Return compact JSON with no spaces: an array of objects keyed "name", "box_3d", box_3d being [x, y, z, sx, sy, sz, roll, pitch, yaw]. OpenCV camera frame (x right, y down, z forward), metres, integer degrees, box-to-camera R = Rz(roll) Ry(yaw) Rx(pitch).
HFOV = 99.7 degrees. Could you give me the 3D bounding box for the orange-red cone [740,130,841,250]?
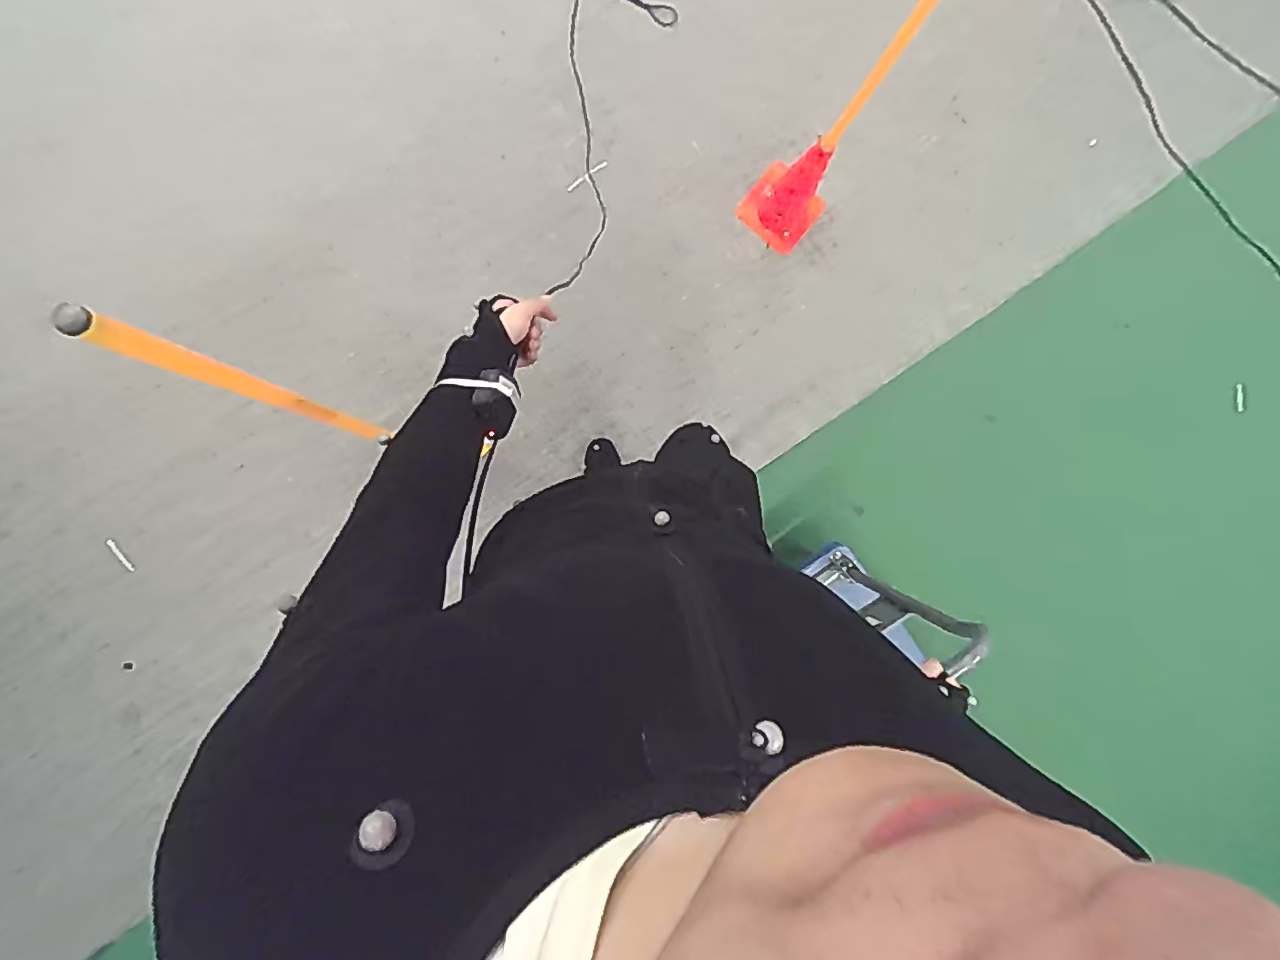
[{"name":"orange-red cone","box_3d":[0.425,-0.783,1.390,0.198,0.360,0.199,40,90,-6]}]
